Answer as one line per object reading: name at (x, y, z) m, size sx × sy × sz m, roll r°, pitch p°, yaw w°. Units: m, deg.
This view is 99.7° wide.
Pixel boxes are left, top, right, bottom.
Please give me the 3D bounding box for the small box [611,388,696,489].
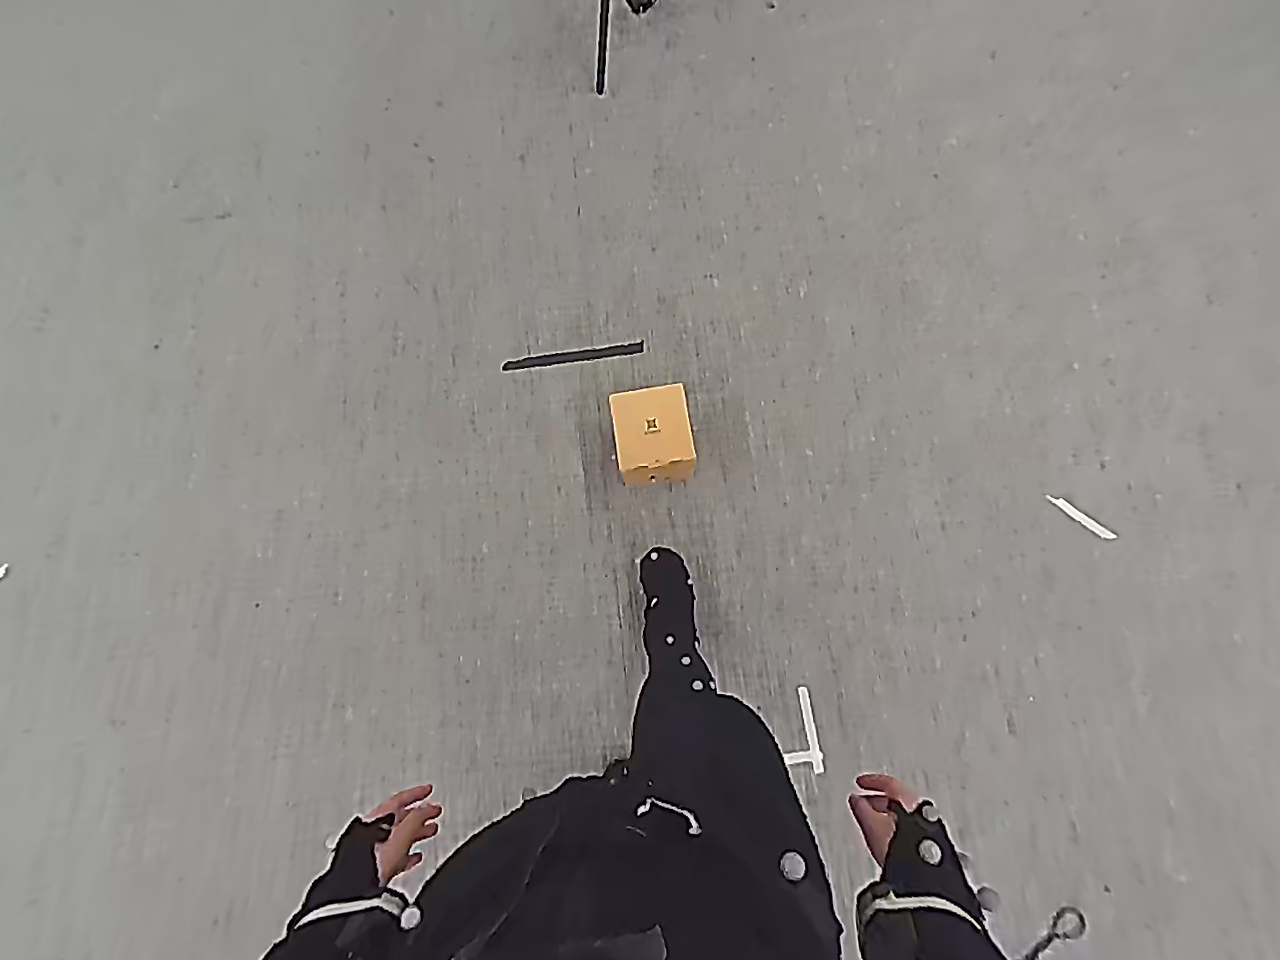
small box at (0.029, -0.089, 1.240) m, size 0.168 × 0.176 × 0.179 m, roll -9°, pitch 78°, yaw 0°
